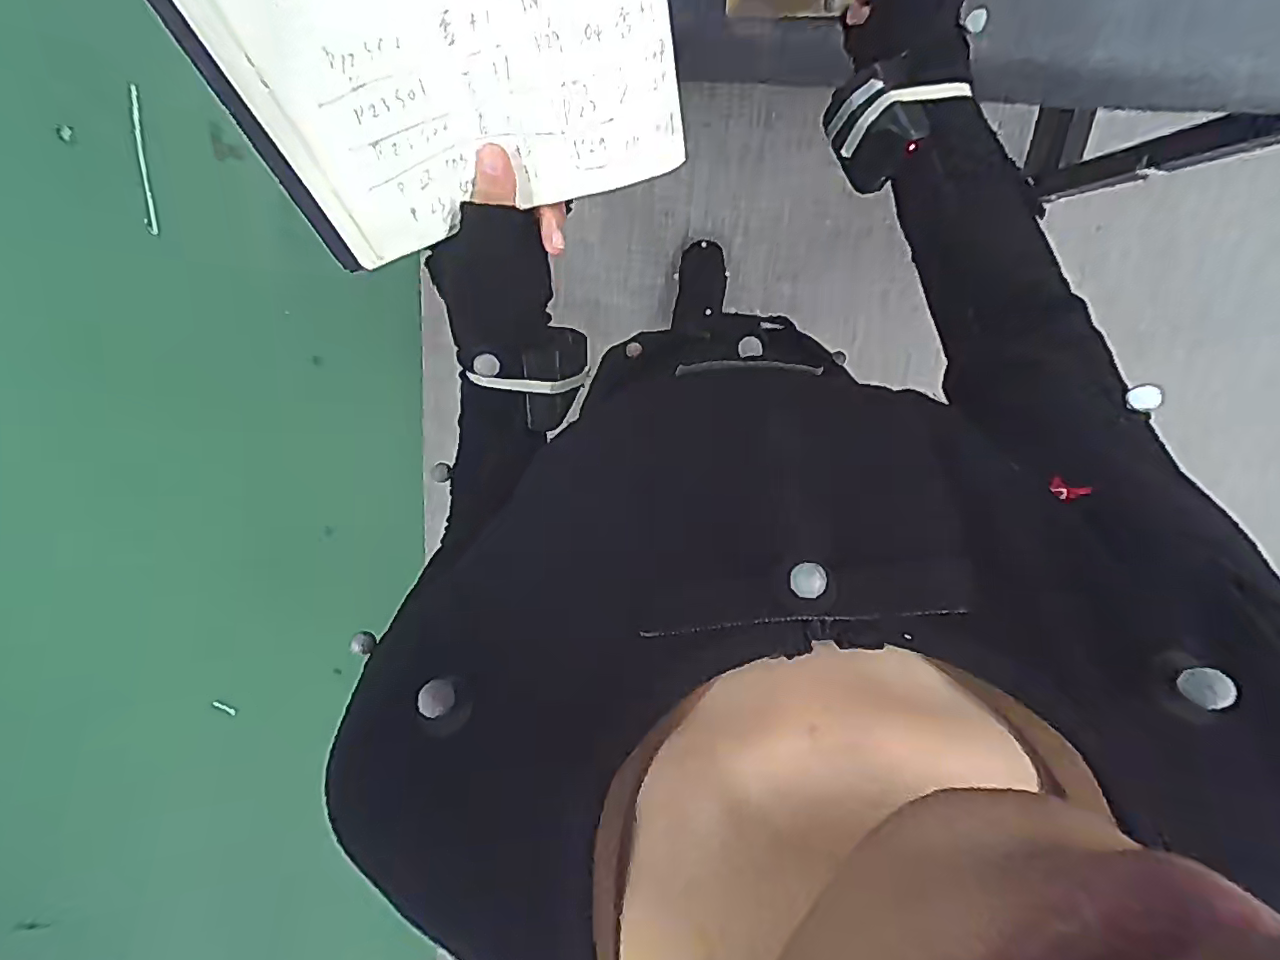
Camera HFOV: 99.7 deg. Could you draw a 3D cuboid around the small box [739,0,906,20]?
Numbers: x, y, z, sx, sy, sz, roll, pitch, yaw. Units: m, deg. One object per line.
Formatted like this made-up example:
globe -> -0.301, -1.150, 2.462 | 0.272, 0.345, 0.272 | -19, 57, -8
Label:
small box -> 0.171, -0.499, 0.416 | 0.168, 0.176, 0.179 | -4, 111, -4
